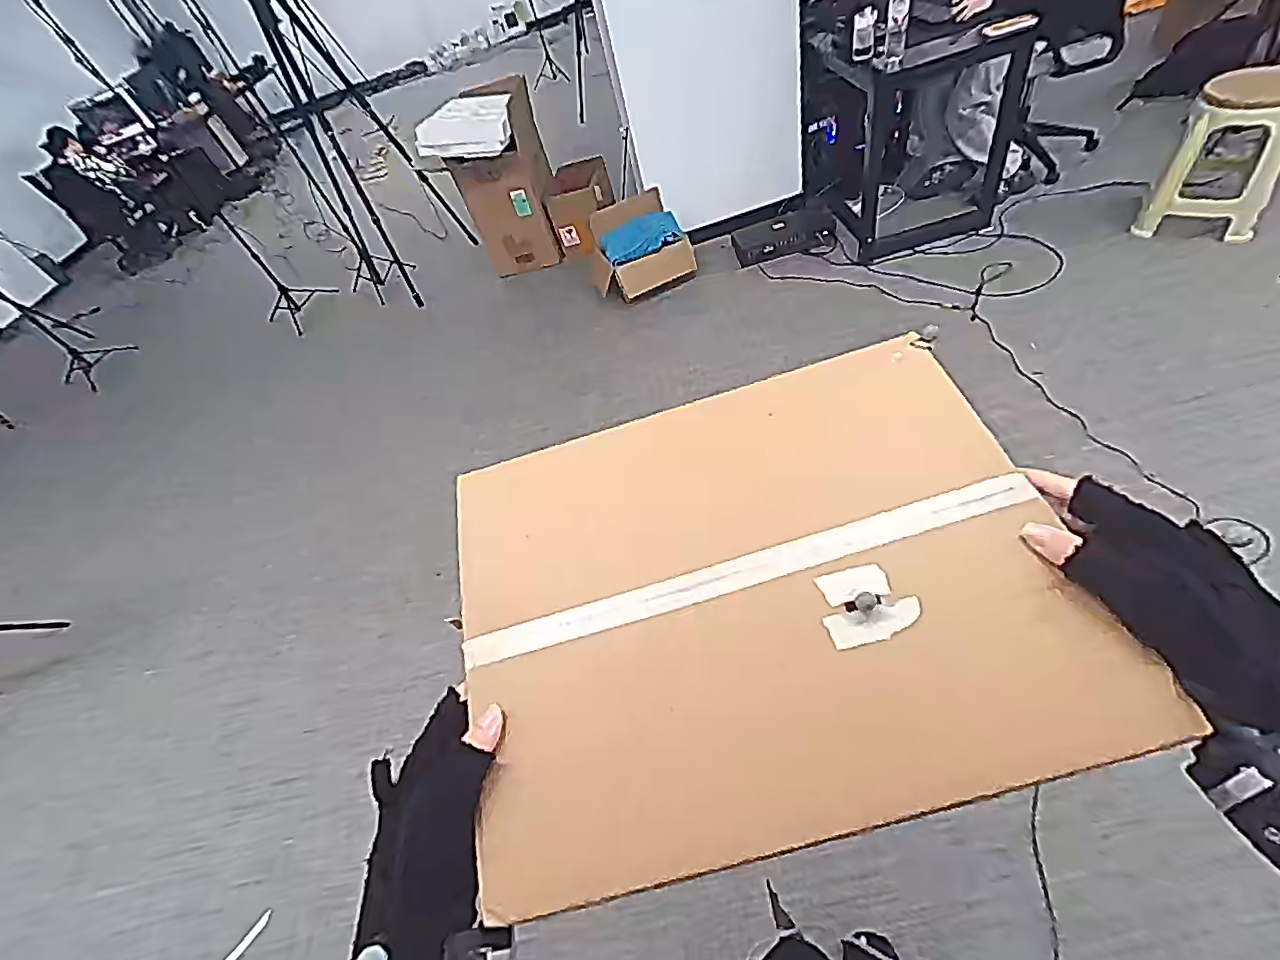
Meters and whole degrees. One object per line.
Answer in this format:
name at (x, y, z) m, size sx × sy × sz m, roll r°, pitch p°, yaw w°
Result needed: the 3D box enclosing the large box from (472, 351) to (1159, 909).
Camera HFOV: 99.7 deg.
large box at (0.101, 0.146, 0.517) m, size 0.408 × 0.320 × 0.320 m, roll -18°, pitch 58°, yaw 2°
